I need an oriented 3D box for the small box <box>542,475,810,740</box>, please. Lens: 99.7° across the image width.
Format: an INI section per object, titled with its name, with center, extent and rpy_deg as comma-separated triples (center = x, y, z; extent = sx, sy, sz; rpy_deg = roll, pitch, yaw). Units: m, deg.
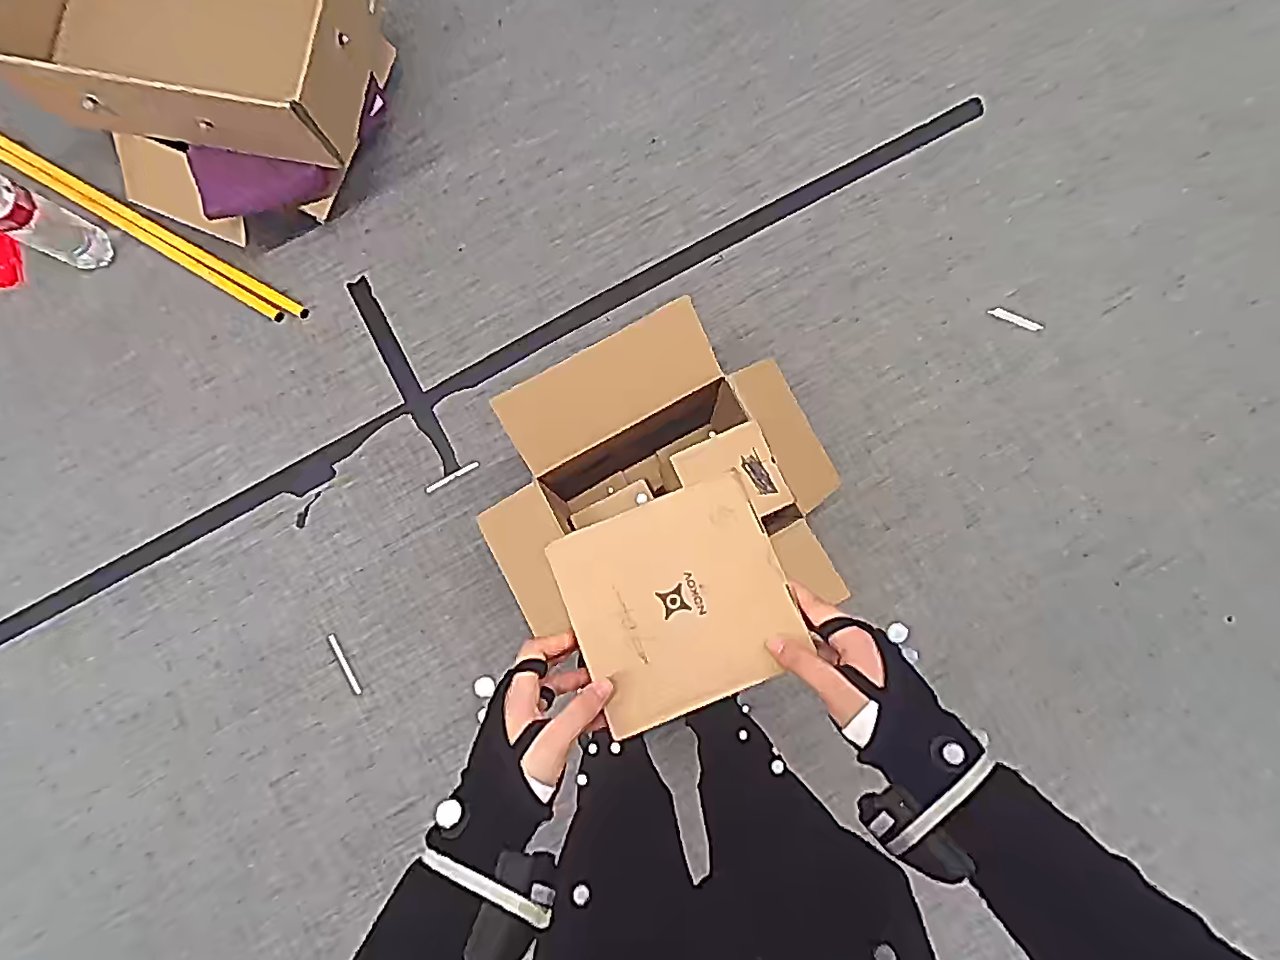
[small box]
center = 0.030, 0.112, 0.517
extent = 0.179, 0.176, 0.168
rpy_deg = -23, 80, -1
